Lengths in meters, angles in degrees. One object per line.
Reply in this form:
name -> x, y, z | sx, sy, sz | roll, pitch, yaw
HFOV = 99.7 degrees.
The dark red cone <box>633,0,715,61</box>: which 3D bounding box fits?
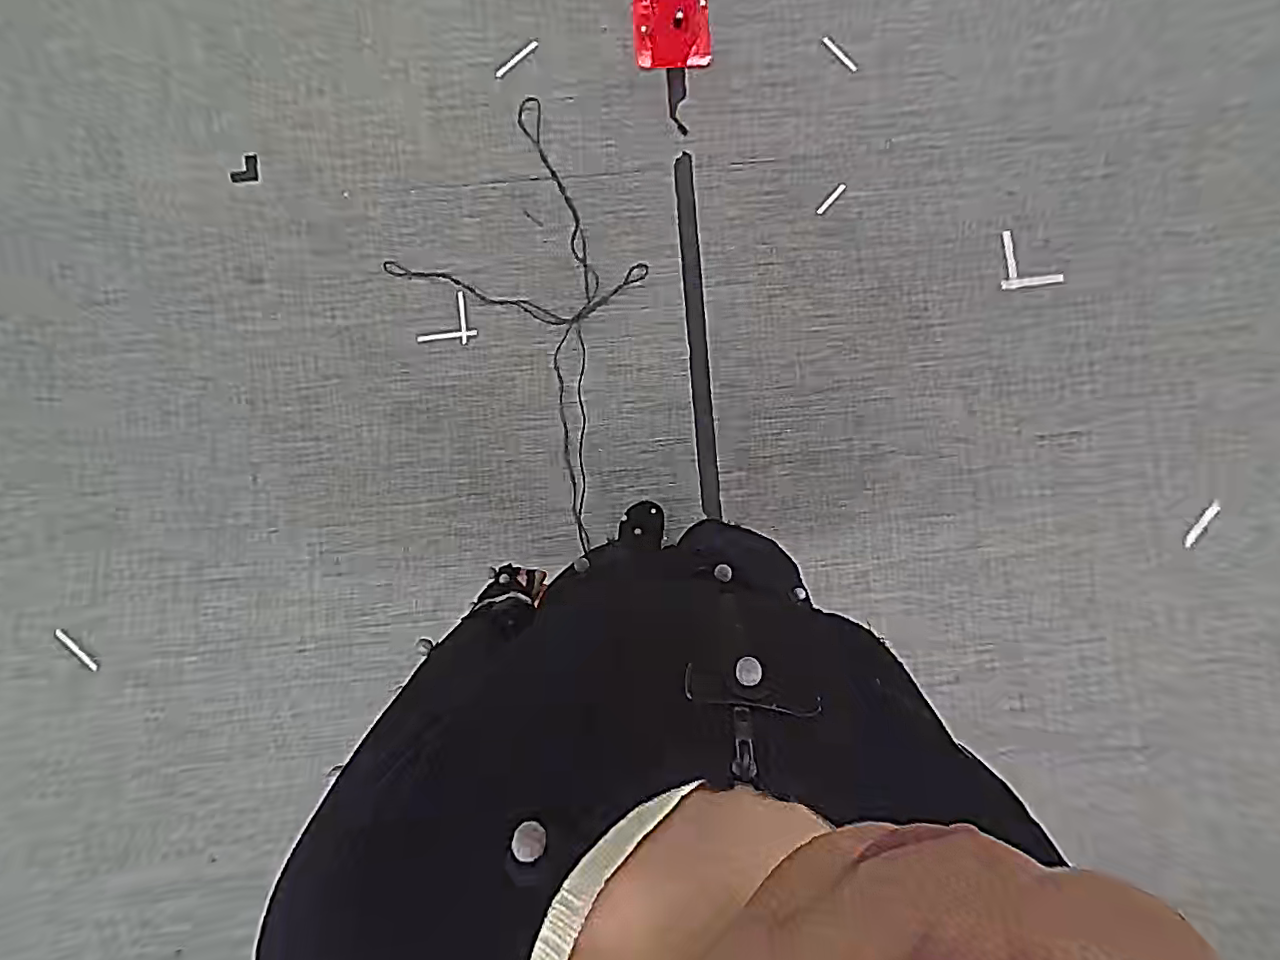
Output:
dark red cone -> 0.091, -1.188, 1.231 | 0.201, 0.394, 0.202 | -6, 89, -1
